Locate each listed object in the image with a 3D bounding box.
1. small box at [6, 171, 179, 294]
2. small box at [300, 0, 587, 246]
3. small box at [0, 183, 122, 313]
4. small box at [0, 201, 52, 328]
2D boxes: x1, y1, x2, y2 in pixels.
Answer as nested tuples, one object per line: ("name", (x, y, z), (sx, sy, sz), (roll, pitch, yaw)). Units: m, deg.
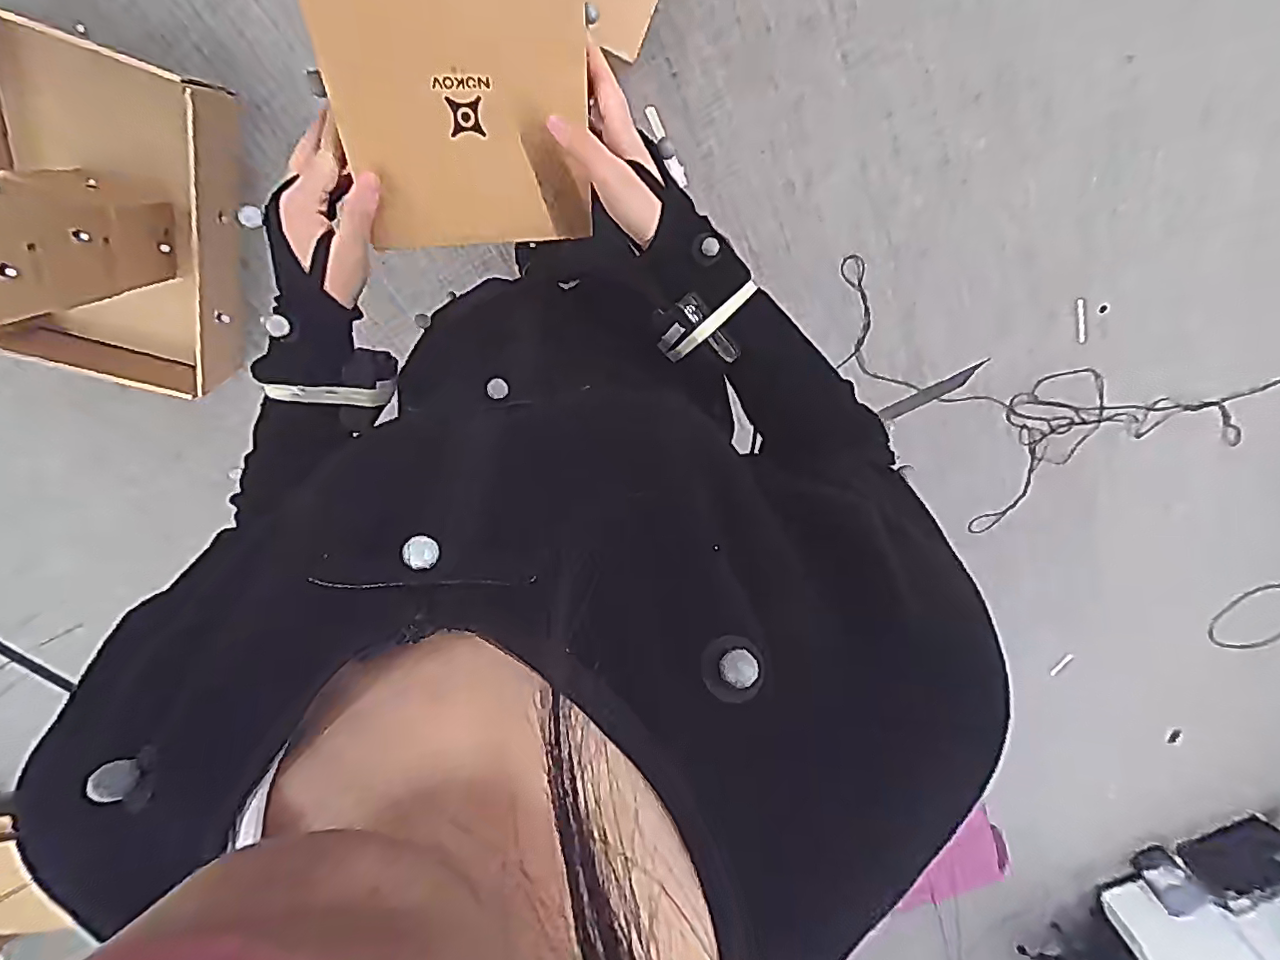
("small box", (-1.066, -0.490, 1.070), (0.179, 0.176, 0.168), (13, 117, -16))
("small box", (-0.135, -0.301, 0.415), (0.168, 0.176, 0.179), (-8, 133, -11))
("small box", (-1.051, -0.405, 0.934), (0.179, 0.176, 0.168), (10, 117, -12))
("small box", (-1.028, -0.327, 0.789), (0.179, 0.176, 0.168), (9, 117, -13))
